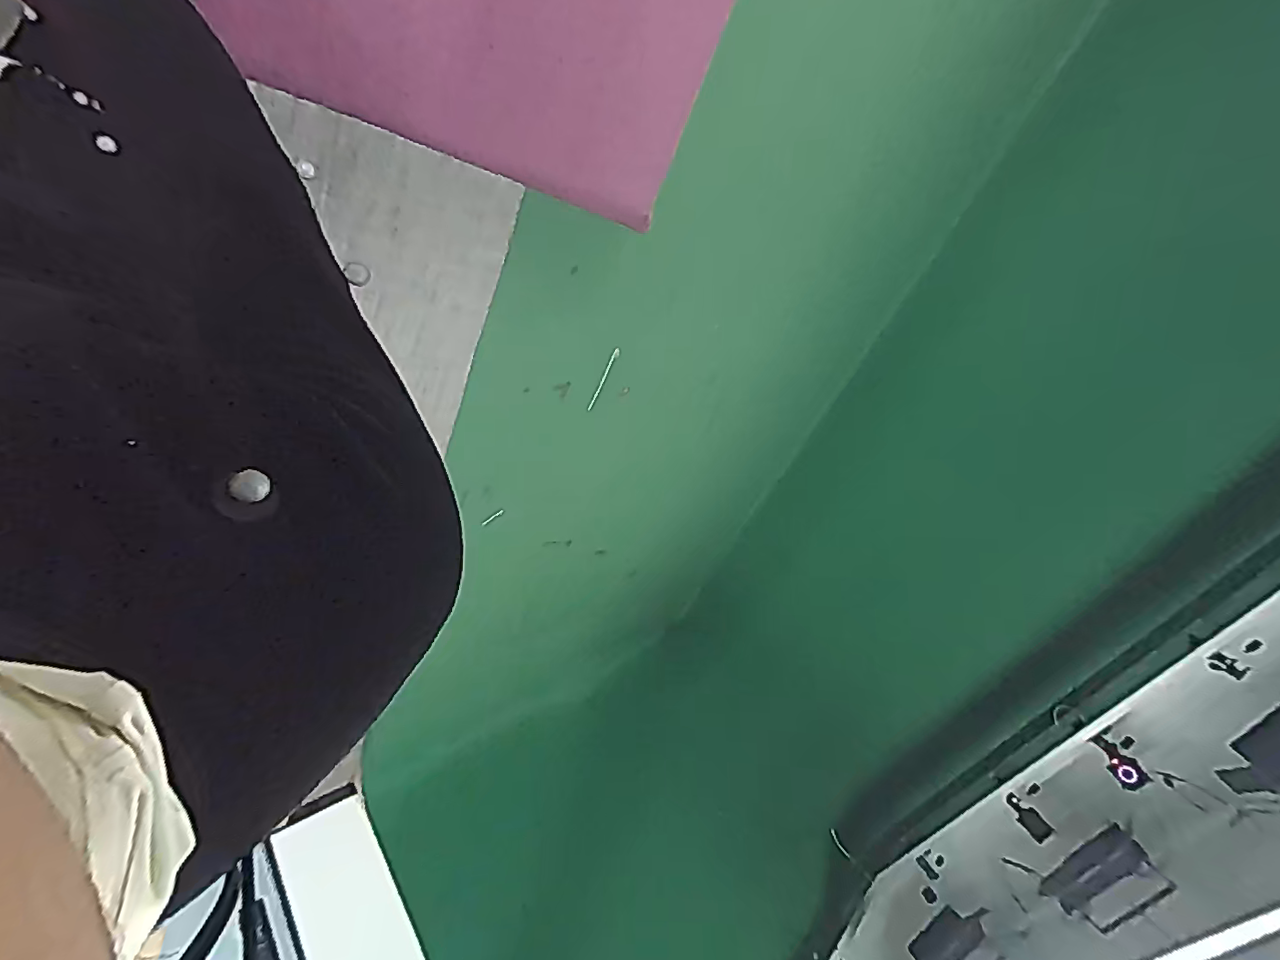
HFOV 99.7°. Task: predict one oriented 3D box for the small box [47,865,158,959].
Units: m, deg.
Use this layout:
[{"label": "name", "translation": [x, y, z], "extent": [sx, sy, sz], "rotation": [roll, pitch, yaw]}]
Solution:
[{"label": "small box", "translation": [-1.235, 1.033, 1.240], "extent": [0.168, 0.176, 0.179], "rotation": [-3, 131, -49]}]
